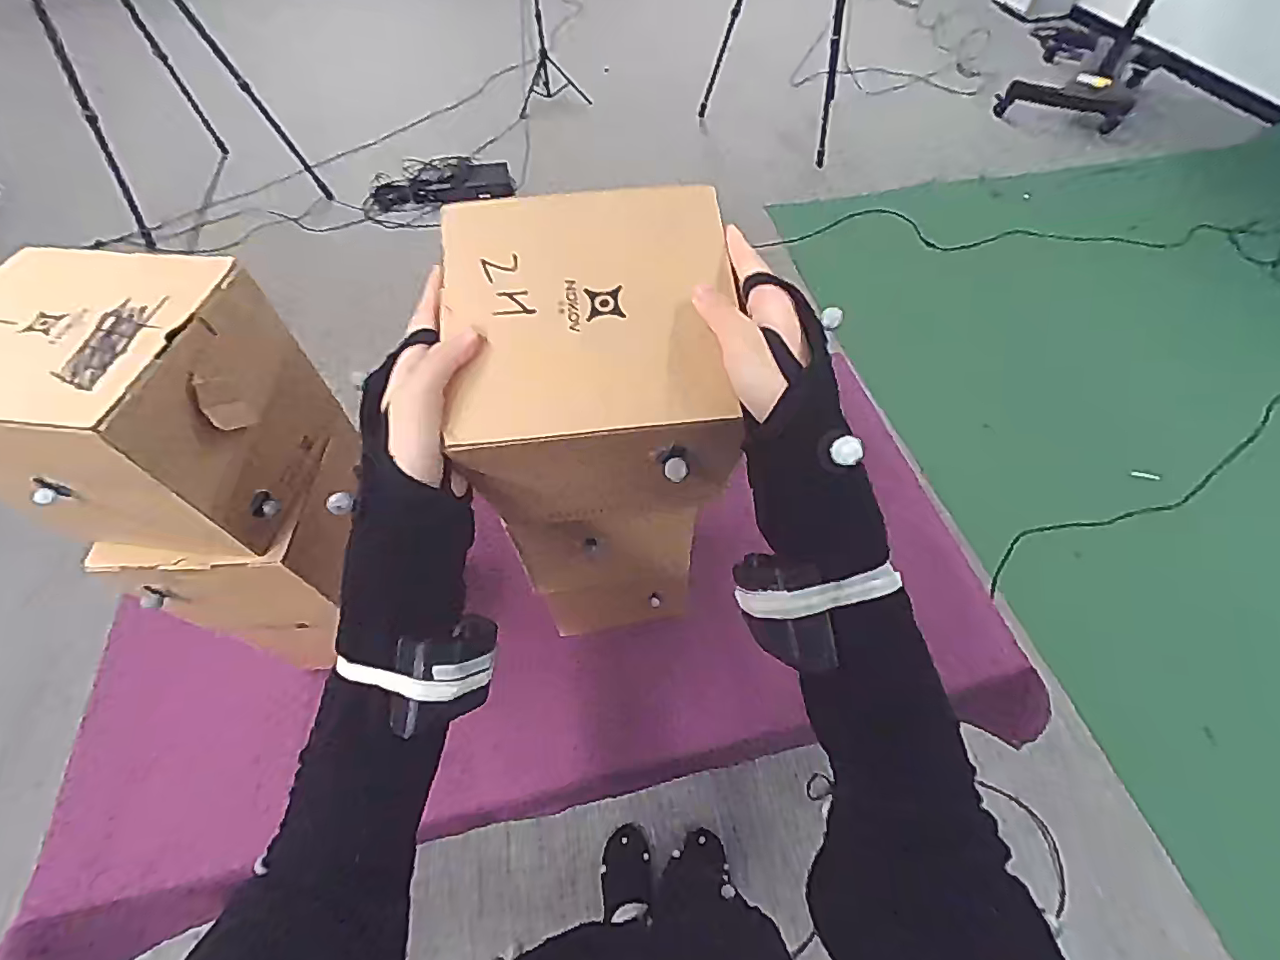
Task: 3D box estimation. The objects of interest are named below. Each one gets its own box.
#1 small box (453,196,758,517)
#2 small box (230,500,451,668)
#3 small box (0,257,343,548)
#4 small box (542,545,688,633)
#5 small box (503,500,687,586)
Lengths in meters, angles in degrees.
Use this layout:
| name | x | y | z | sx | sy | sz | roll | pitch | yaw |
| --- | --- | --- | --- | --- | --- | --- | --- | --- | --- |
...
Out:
| name | x | y | z | sx | sy | sz | roll | pitch | yaw |
| --- | --- | --- | --- | --- | --- | --- | --- | --- | --- |
| small box | -0.028 | -0.078 | 0.405 | 0.179 | 0.176 | 0.168 | -6 | 70 | -3 |
| small box | -0.370 | 0.141 | 0.708 | 0.179 | 0.176 | 0.168 | -1 | 55 | -1 |
| small box | -0.387 | -0.057 | 0.445 | 0.179 | 0.176 | 0.168 | 4 | 54 | 4 |
| small box | -0.041 | 0.092 | 0.738 | 0.179 | 0.176 | 0.168 | -9 | 55 | -5 |
| small box | -0.045 | 0.004 | 0.599 | 0.179 | 0.176 | 0.168 | -8 | 55 | -4 |
